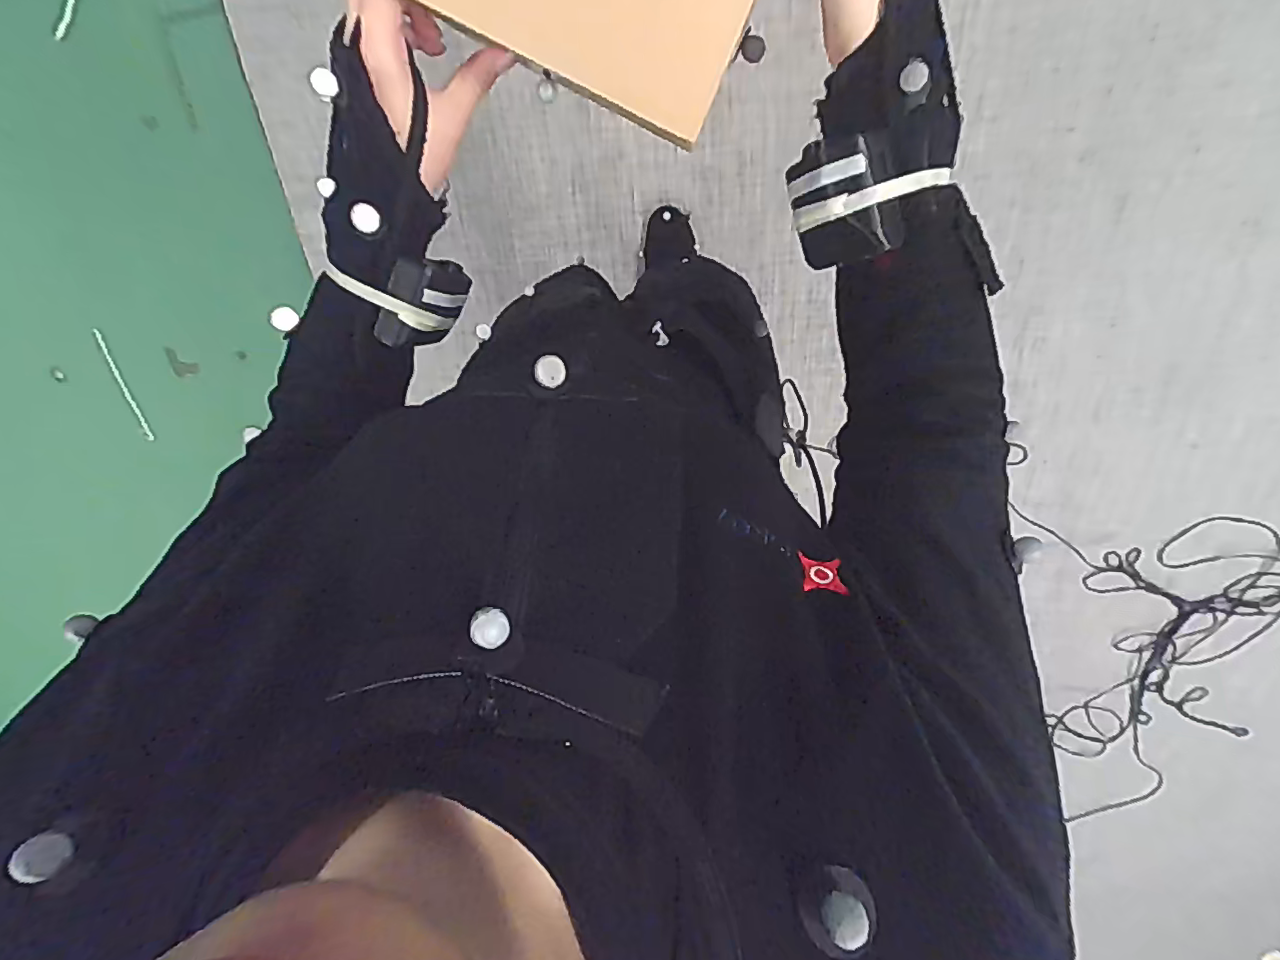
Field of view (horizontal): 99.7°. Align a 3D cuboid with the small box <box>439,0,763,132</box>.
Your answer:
[{"bbox_3d":[-0.008,-0.319,0.306,0.179,0.176,0.168,22,121,-8],"label":"small box"}]
